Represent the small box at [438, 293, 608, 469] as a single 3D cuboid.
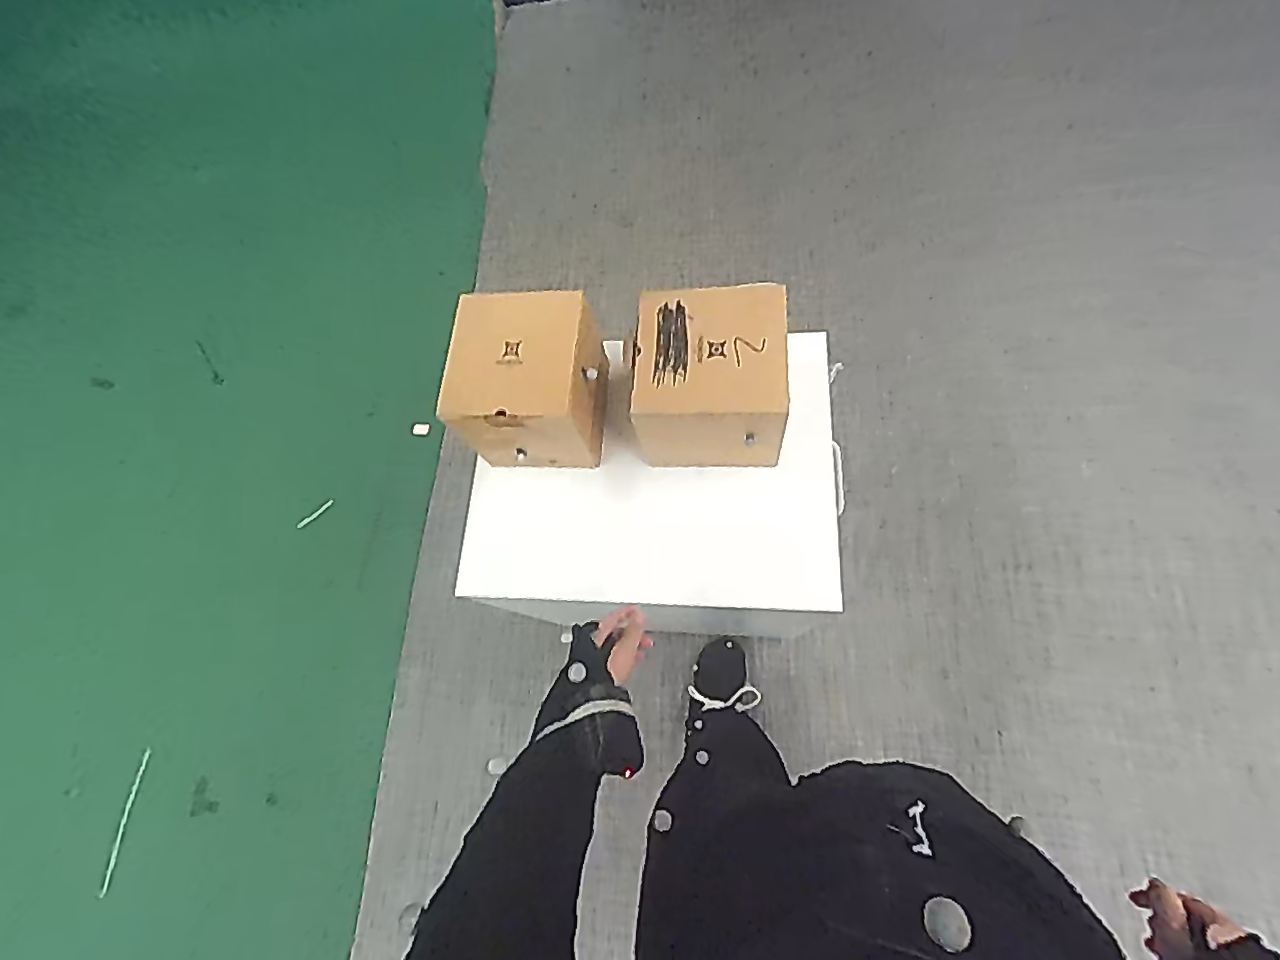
[{"bbox_3d":[-0.143,-0.127,0.730,0.168,0.176,0.179,1,71,9],"label":"small box"}]
